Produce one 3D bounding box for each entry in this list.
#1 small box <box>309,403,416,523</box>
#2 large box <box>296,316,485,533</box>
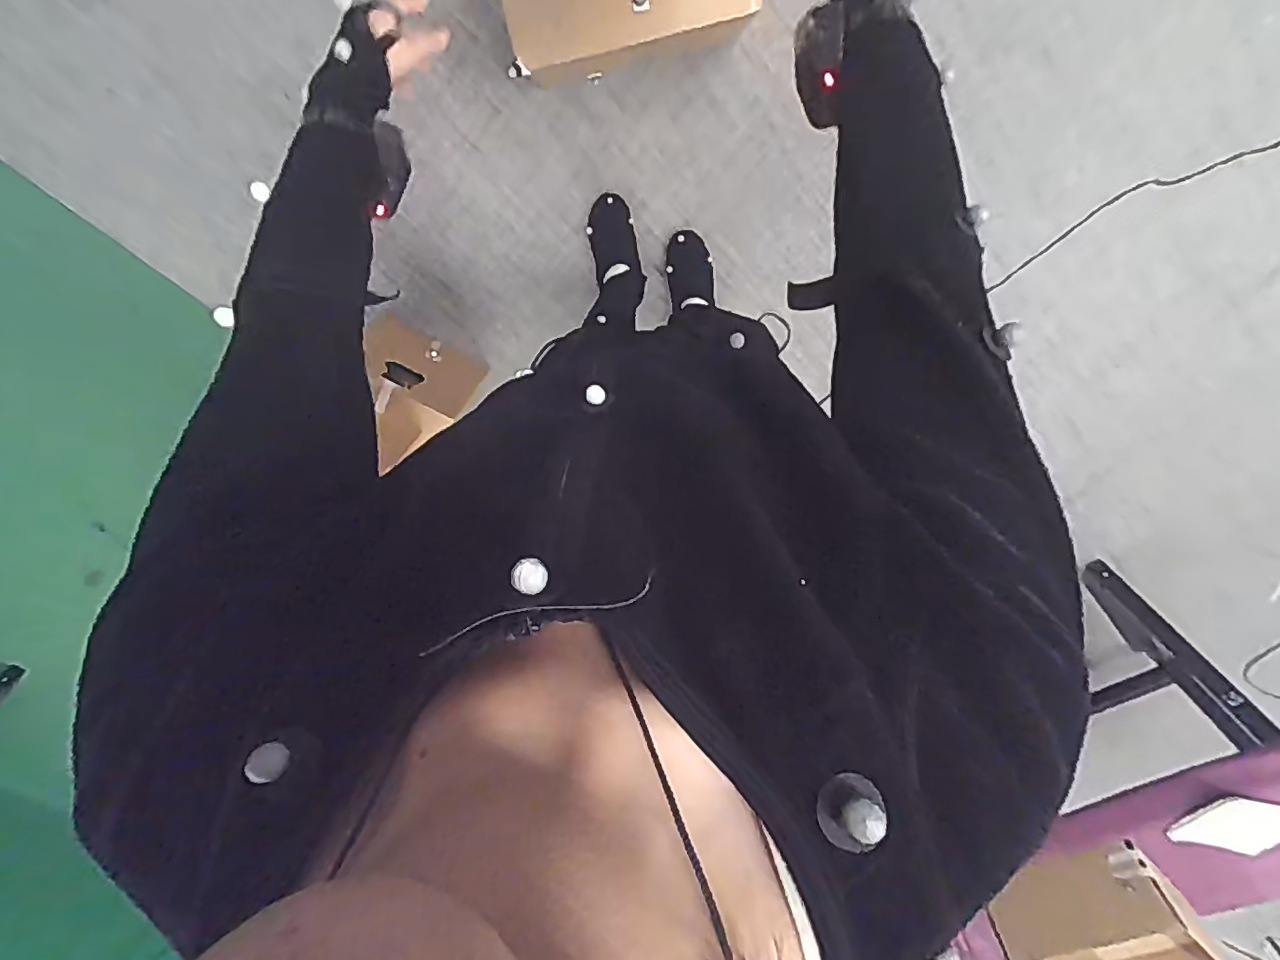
[{"bbox_3d":[-0.622,-0.043,1.189,0.179,0.176,0.168,28,118,-15],"label":"small box"},{"bbox_3d":[-0.650,-0.147,1.413,0.320,0.320,0.408,28,120,-14],"label":"large box"}]
